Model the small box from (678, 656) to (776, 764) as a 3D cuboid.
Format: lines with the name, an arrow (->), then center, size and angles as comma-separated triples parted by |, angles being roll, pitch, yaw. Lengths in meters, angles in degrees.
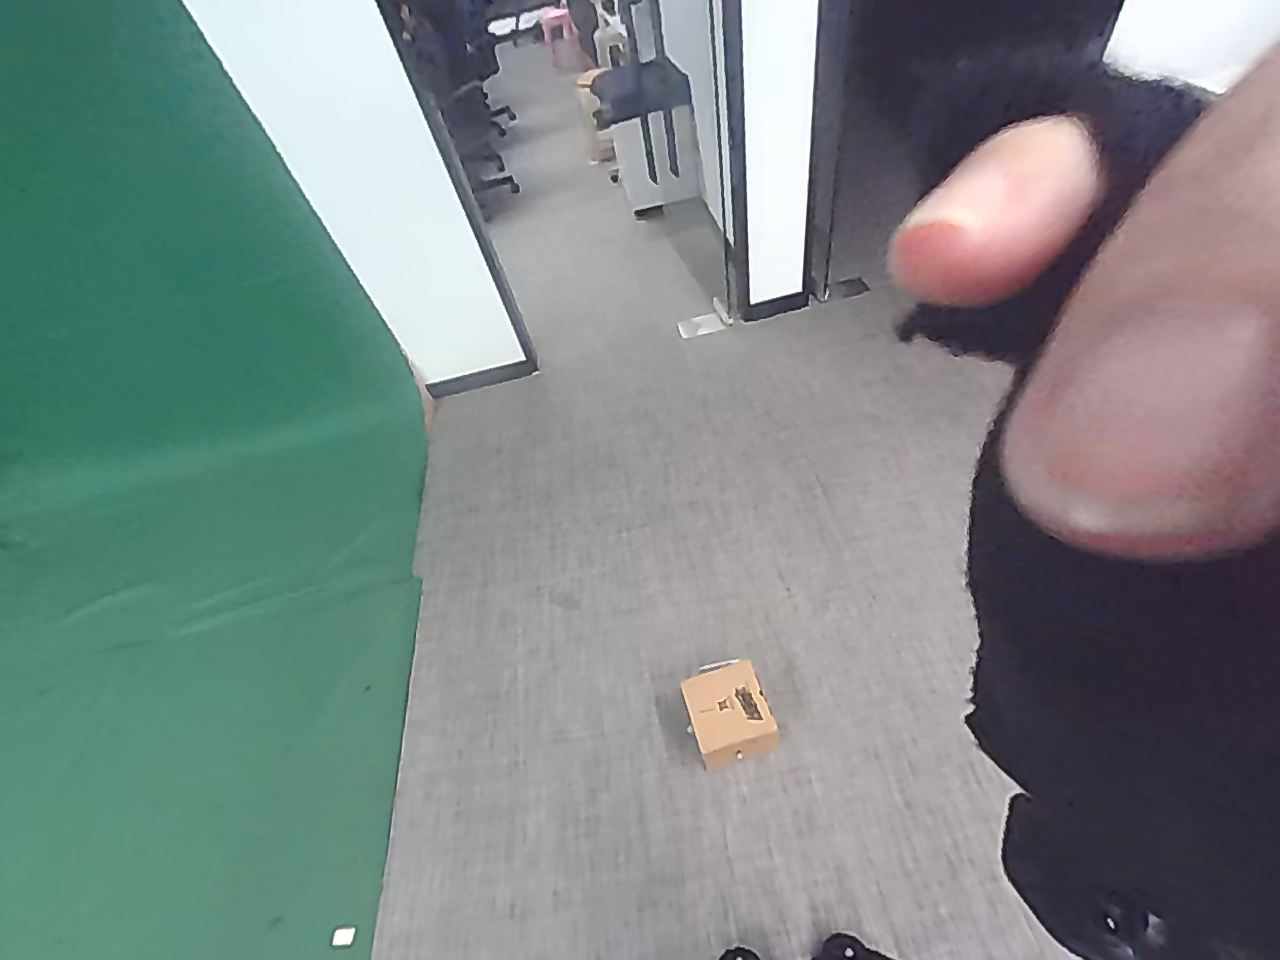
small box -> 0.204, 0.549, 1.284 | 0.179, 0.176, 0.168 | -19, 50, -4
